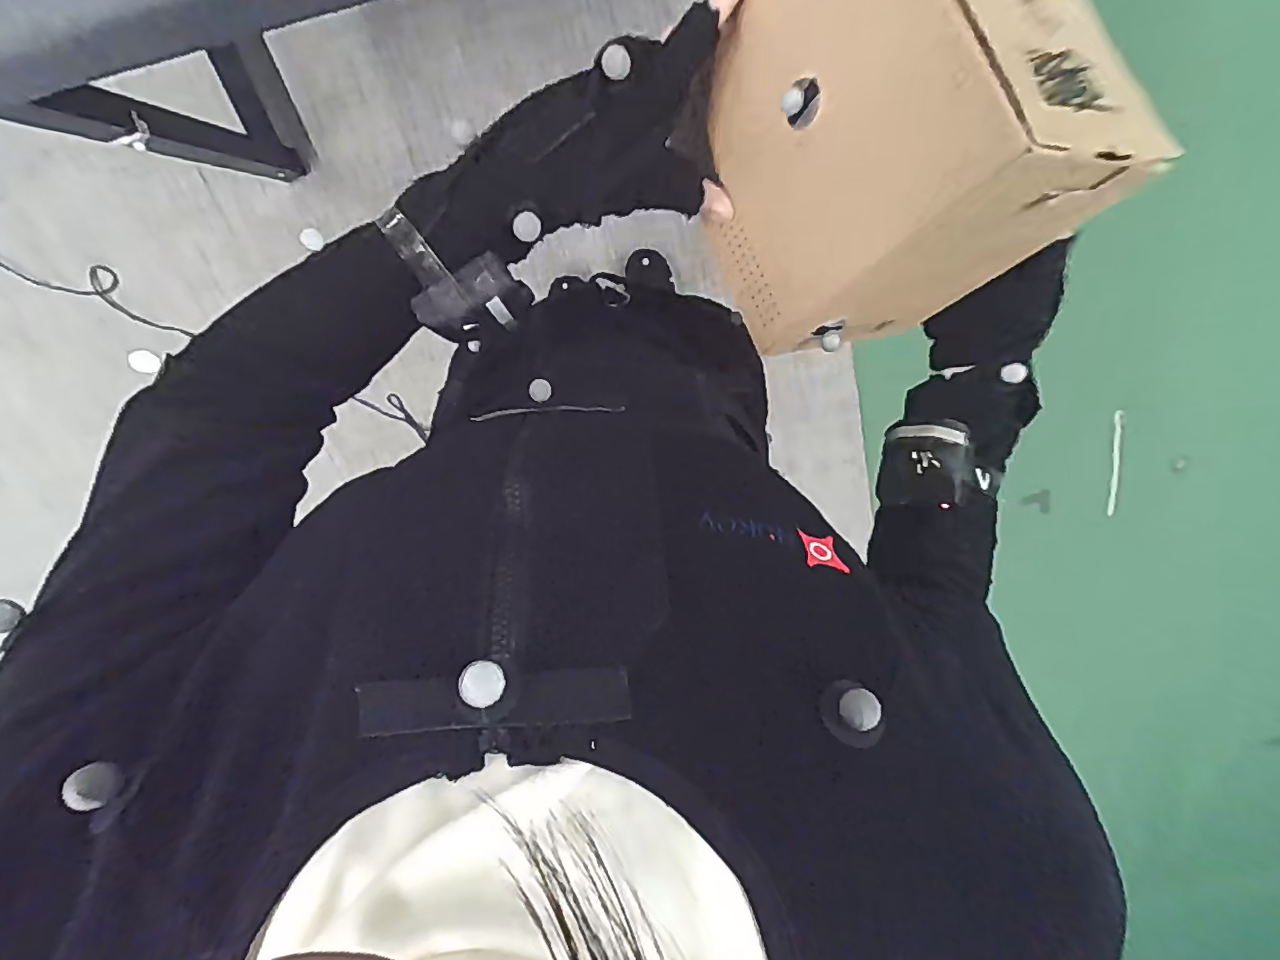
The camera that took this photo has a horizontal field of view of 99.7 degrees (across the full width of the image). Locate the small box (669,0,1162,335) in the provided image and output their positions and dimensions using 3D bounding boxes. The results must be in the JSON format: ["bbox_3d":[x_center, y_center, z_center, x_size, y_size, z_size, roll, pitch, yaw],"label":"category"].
[{"bbox_3d":[0.145,-0.202,0.325,0.168,0.176,0.179,-17,83,-30],"label":"small box"}]
